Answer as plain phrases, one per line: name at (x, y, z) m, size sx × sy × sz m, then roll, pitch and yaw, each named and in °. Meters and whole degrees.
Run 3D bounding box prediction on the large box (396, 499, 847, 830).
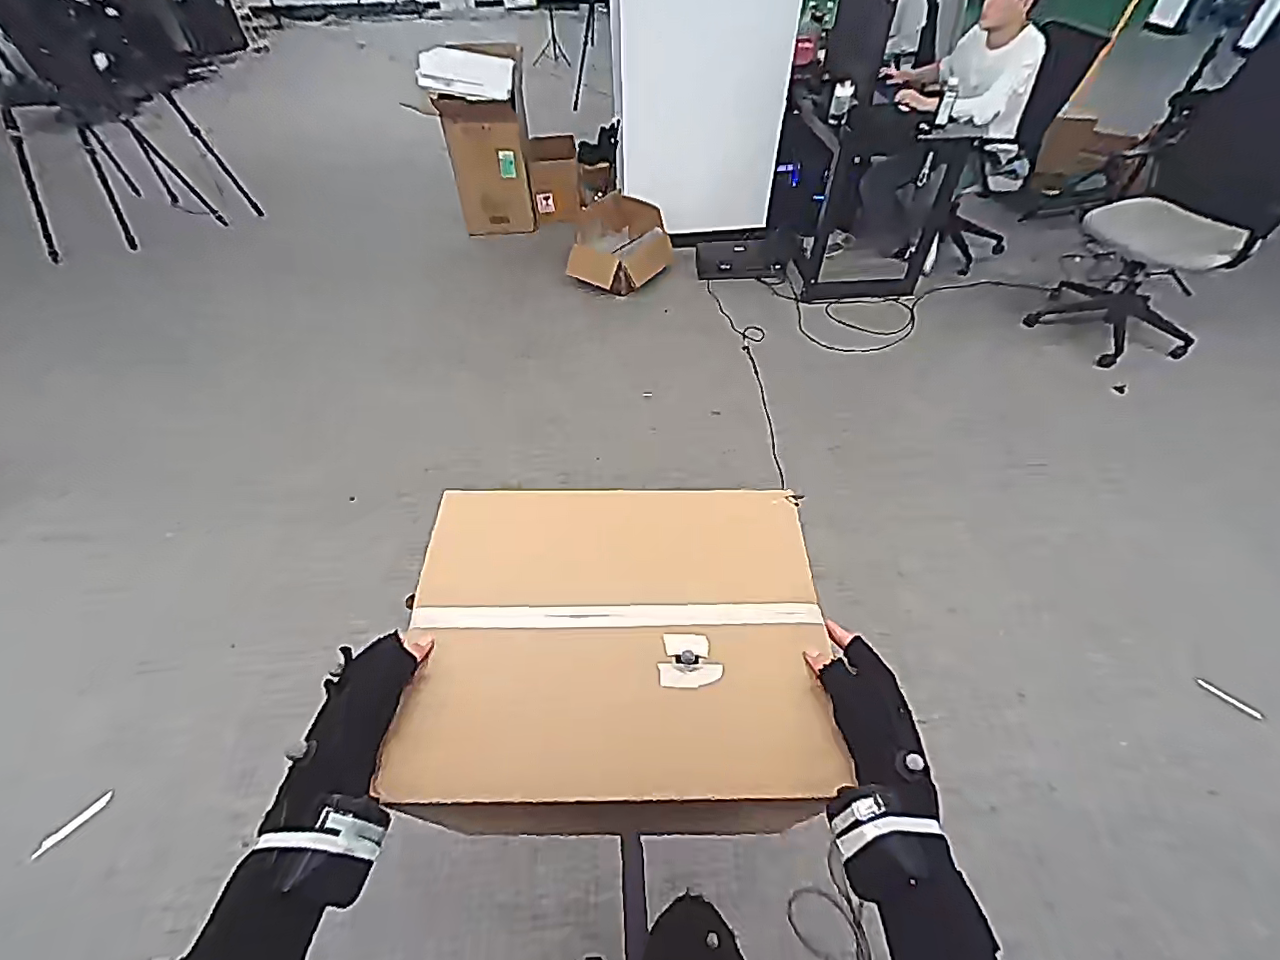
large box at (-0.021, 0.236, 0.676) m, size 0.408 × 0.320 × 0.320 m, roll 0°, pitch 53°, yaw -1°
